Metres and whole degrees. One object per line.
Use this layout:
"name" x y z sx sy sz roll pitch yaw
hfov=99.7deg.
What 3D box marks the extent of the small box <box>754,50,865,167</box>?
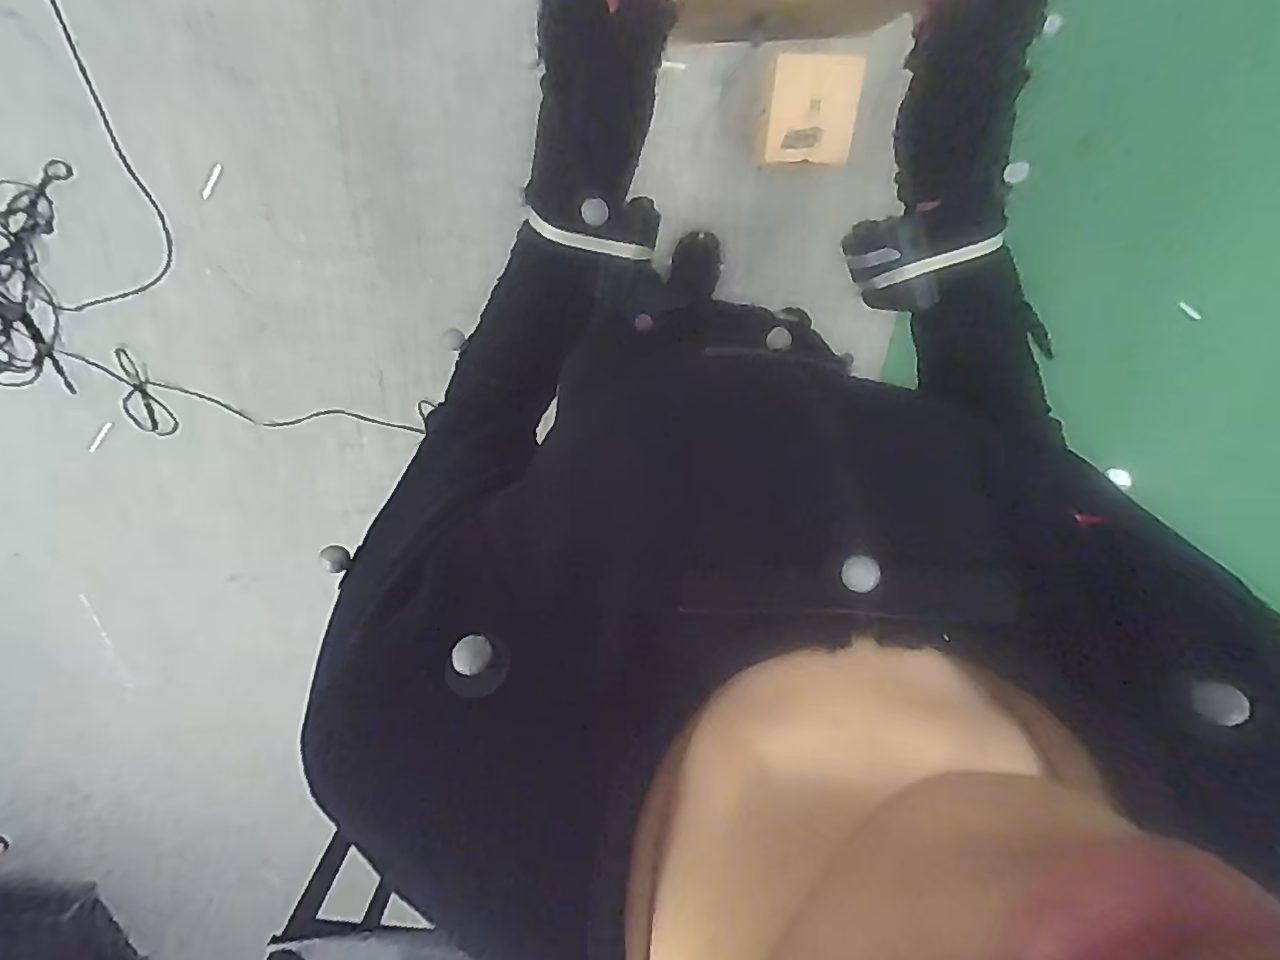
"small box" 0.331 -0.740 1.094 0.168 0.176 0.179 4 117 1
